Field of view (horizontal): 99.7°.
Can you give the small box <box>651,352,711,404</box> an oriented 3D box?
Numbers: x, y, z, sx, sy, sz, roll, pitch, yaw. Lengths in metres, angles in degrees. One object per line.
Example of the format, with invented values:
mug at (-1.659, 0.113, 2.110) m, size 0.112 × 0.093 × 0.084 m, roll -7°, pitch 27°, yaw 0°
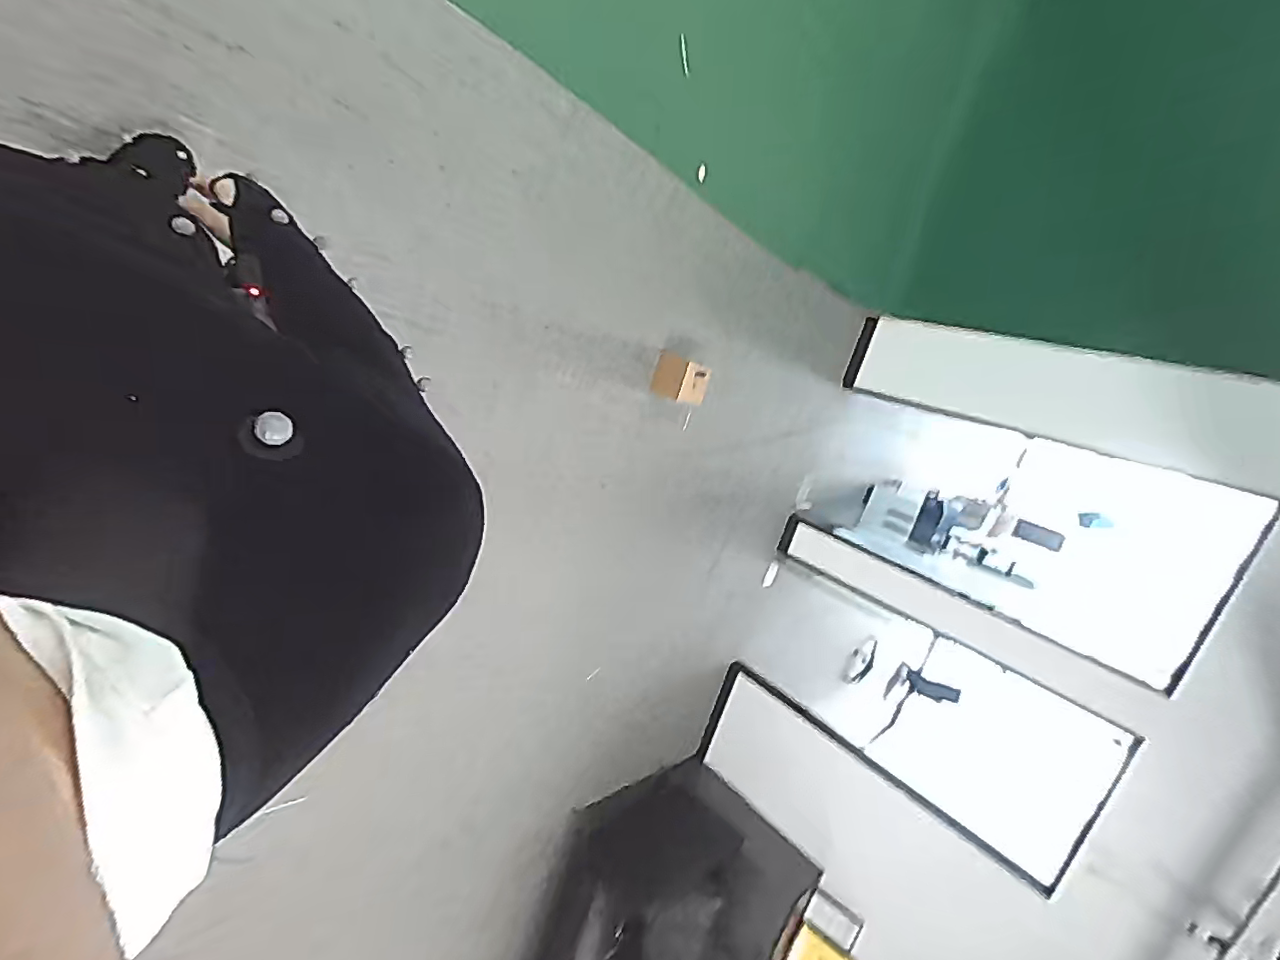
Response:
small box at (0.175, -0.447, 2.351) m, size 0.168 × 0.176 × 0.179 m, roll 4°, pitch 109°, yaw -47°
